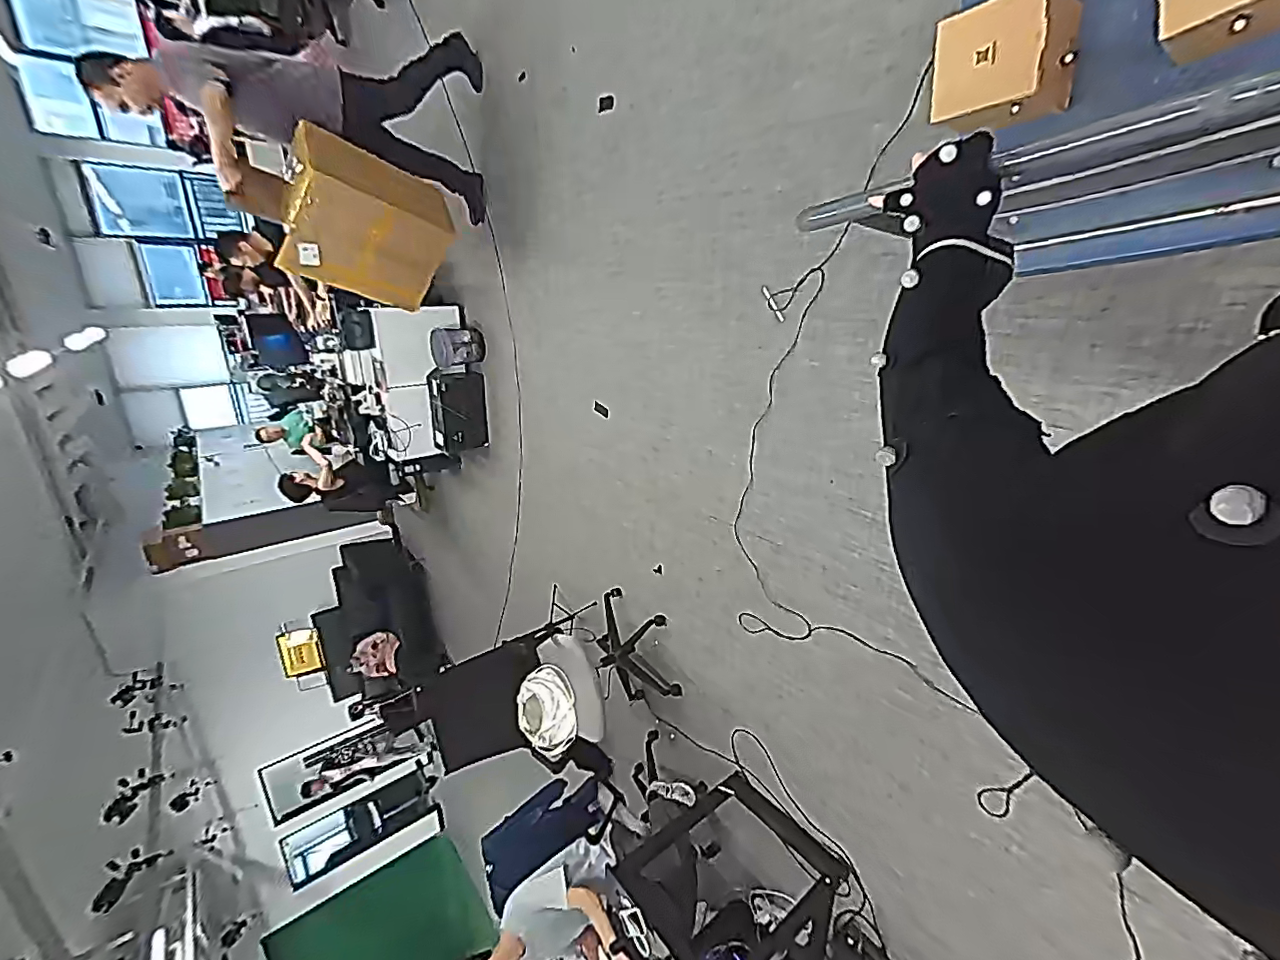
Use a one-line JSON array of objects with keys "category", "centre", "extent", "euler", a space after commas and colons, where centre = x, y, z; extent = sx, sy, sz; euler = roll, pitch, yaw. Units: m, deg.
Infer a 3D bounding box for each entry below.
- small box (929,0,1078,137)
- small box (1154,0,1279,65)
[{"category": "small box", "centre": [0.663, -0.755, 0.991], "extent": [0.179, 0.176, 0.168], "euler": [14, 113, 48]}, {"category": "small box", "centre": [0.854, -0.723, 0.751], "extent": [0.179, 0.176, 0.168], "euler": [6, 107, 52]}]
